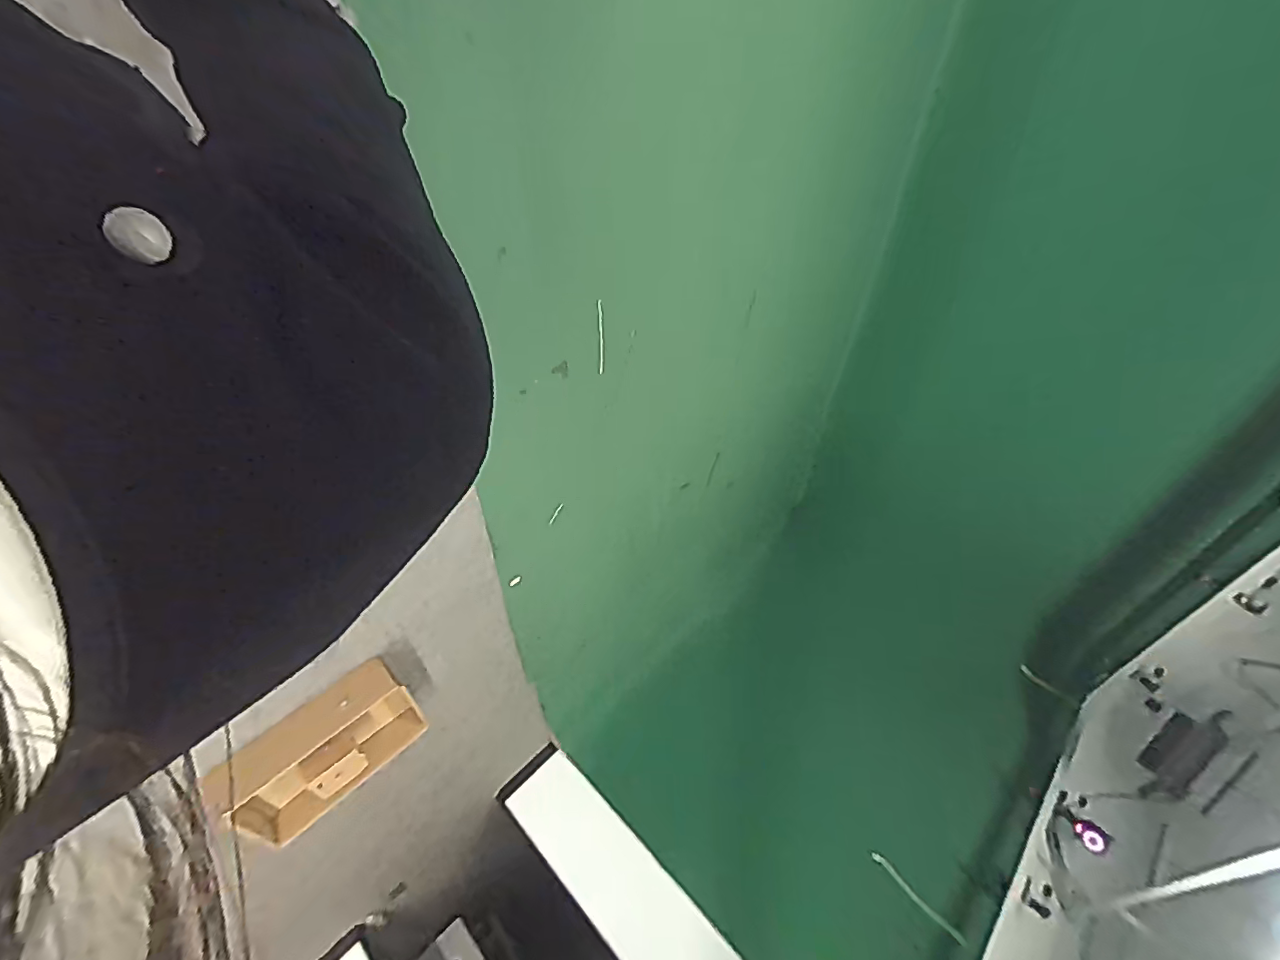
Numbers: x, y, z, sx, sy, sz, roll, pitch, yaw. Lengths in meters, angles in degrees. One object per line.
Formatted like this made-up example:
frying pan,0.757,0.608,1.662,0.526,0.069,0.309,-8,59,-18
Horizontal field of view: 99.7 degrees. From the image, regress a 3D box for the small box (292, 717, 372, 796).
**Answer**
small box,-1.136,1.014,1.996,0.179,0.176,0.168,-37,147,-29
